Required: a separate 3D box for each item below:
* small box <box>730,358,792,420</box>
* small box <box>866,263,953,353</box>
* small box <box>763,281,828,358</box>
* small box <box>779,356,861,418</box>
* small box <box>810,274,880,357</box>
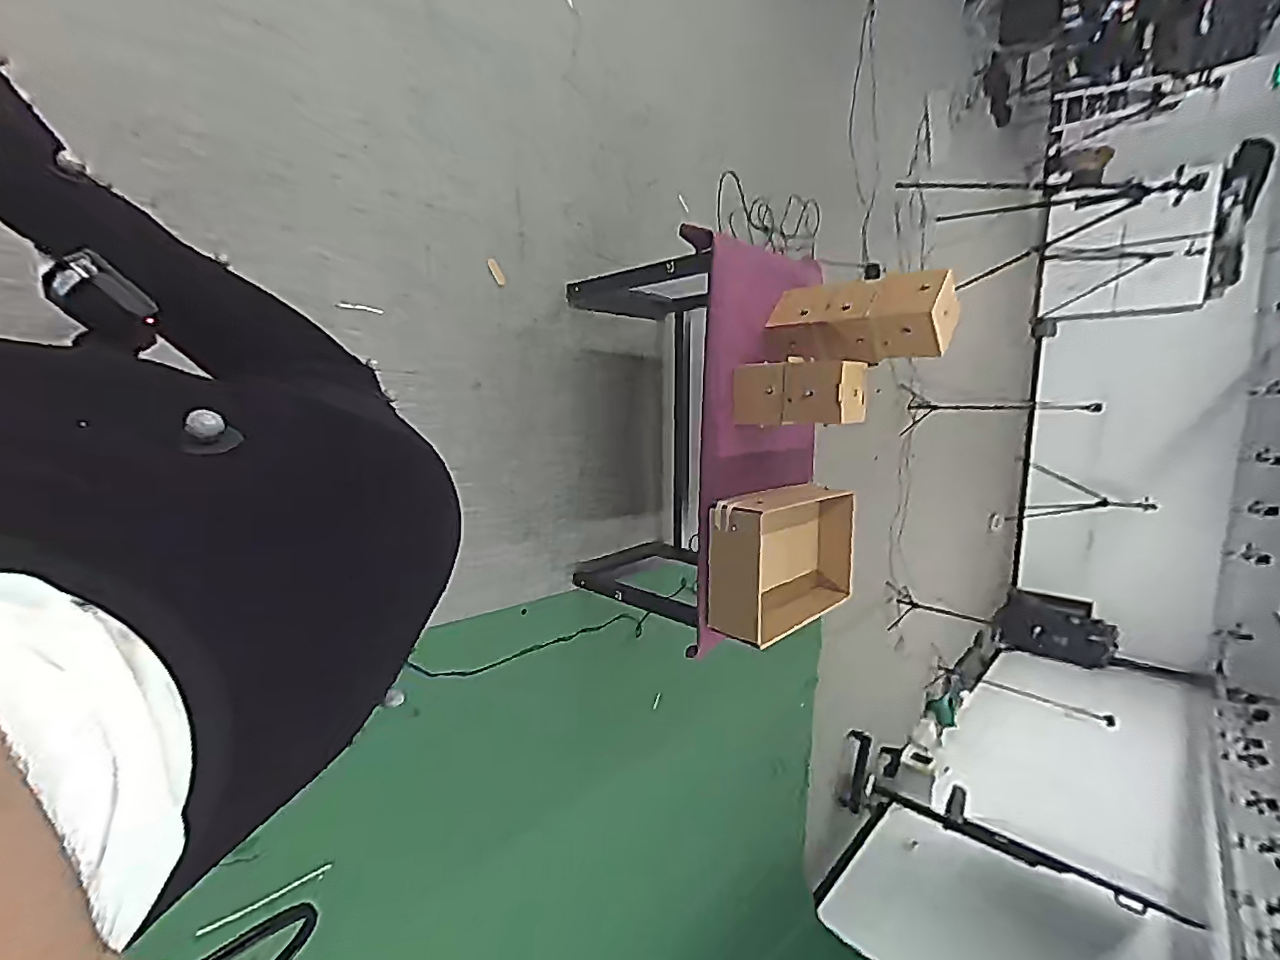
[{"bbox_3d":[0.383,-0.274,1.635,0.168,0.176,0.179,-12,105,-46],"label":"small box"},{"bbox_3d":[0.752,-0.475,1.521,0.168,0.176,0.179,47,64,-39],"label":"small box"},{"bbox_3d":[0.515,-0.509,1.740,0.168,0.176,0.179,49,61,-39],"label":"small box"},{"bbox_3d":[0.506,-0.259,1.528,0.179,0.176,0.168,-10,104,-46],"label":"small box"},{"bbox_3d":[0.635,-0.487,1.632,0.179,0.176,0.168,49,63,-39],"label":"small box"}]
